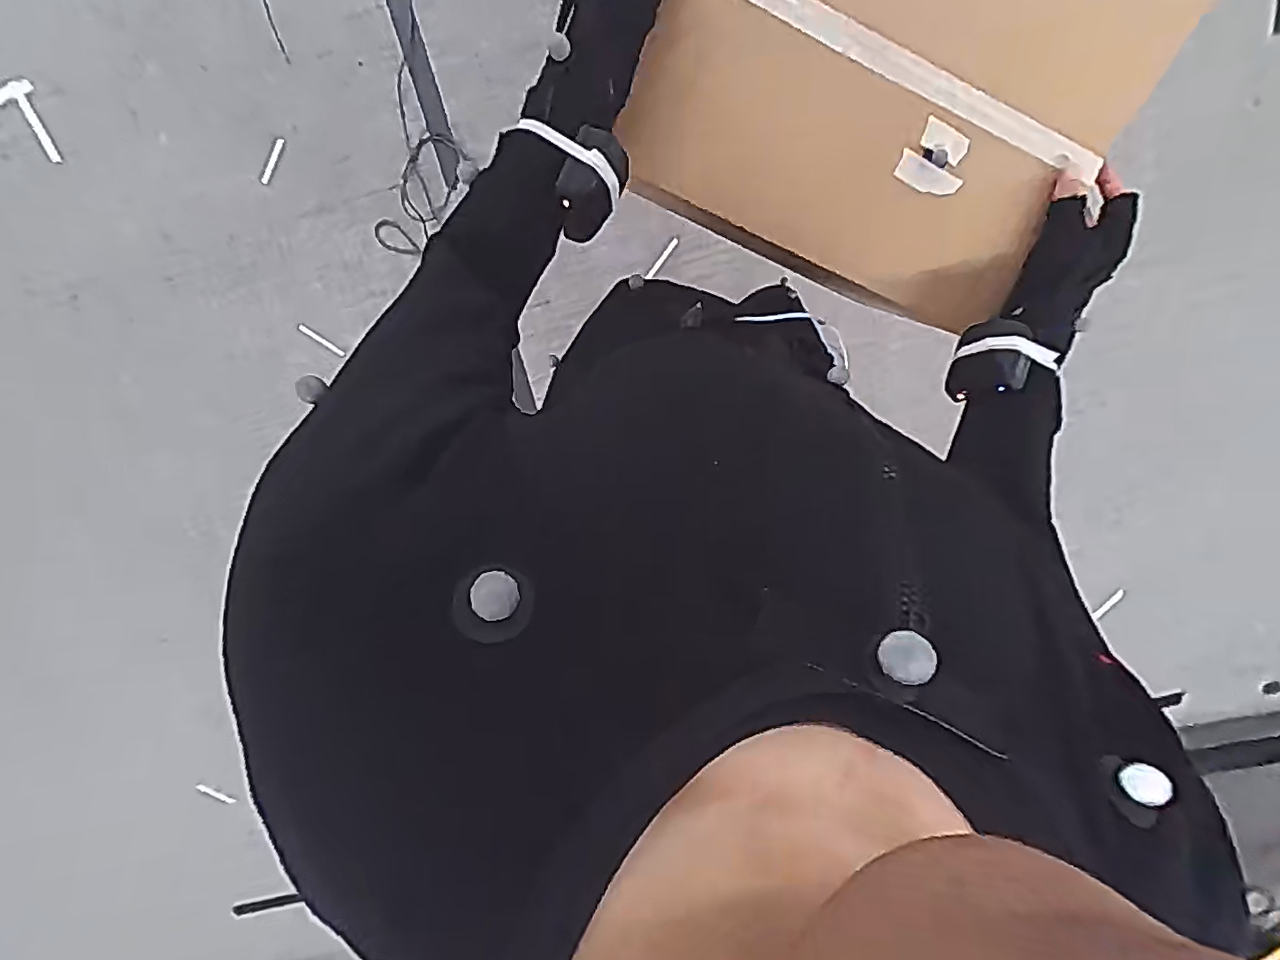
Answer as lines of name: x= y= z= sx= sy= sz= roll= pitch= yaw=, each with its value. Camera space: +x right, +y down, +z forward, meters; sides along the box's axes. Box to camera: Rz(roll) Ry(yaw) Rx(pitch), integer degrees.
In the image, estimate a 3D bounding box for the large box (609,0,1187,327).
large box: x=0.208 y=-0.410 z=0.591 sx=0.408 sy=0.320 sz=0.320 roll=21 pitch=114 yaw=-9
